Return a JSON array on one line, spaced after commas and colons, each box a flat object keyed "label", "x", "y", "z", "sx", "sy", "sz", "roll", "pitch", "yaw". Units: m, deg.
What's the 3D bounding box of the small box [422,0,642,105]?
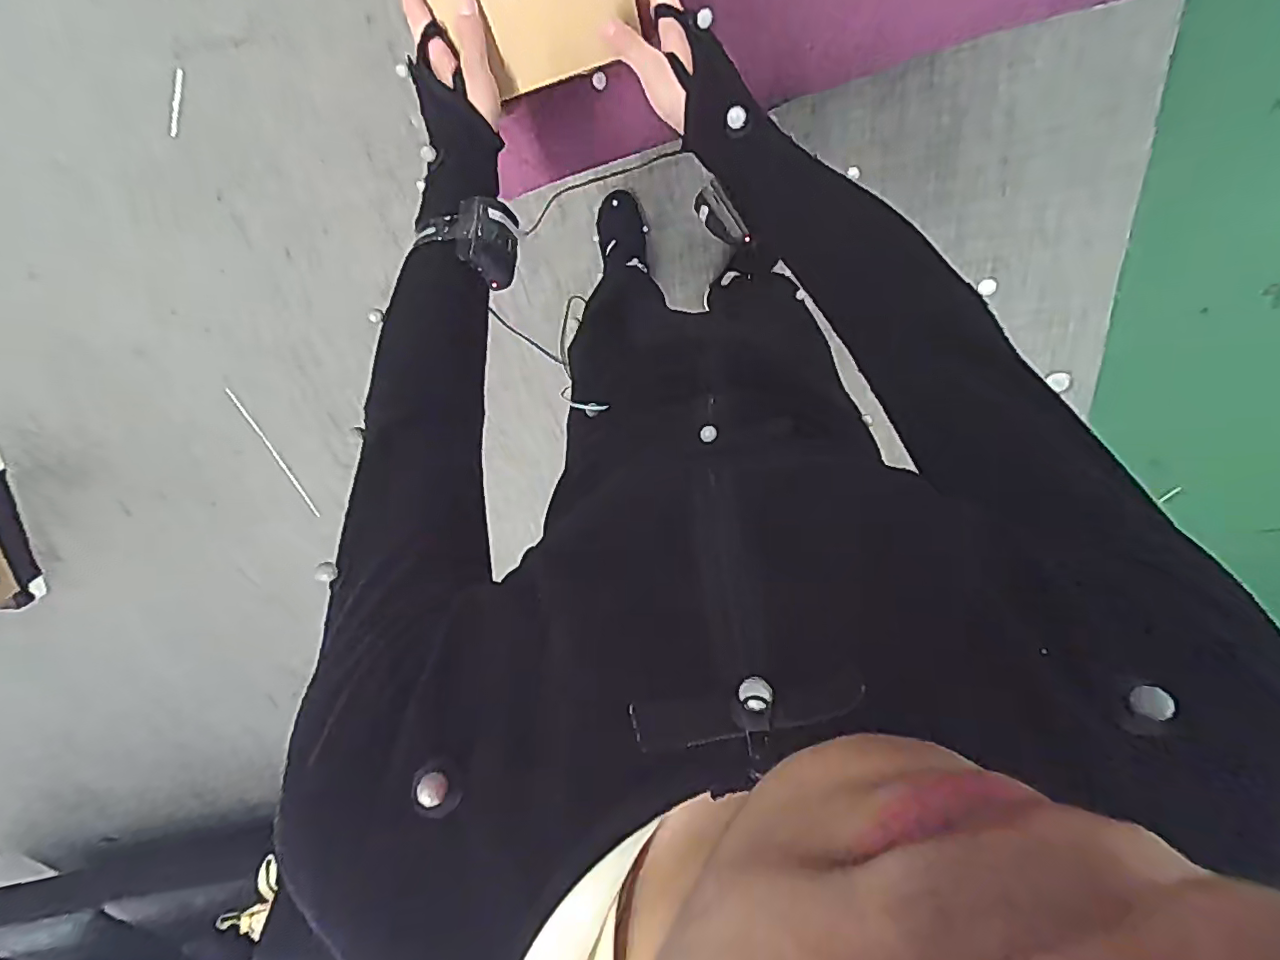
[{"label": "small box", "x": -0.107, "y": -0.477, "z": 0.504, "sx": 0.179, "sy": 0.176, "sz": 0.168, "roll": -14, "pitch": 126, "yaw": 7}]
